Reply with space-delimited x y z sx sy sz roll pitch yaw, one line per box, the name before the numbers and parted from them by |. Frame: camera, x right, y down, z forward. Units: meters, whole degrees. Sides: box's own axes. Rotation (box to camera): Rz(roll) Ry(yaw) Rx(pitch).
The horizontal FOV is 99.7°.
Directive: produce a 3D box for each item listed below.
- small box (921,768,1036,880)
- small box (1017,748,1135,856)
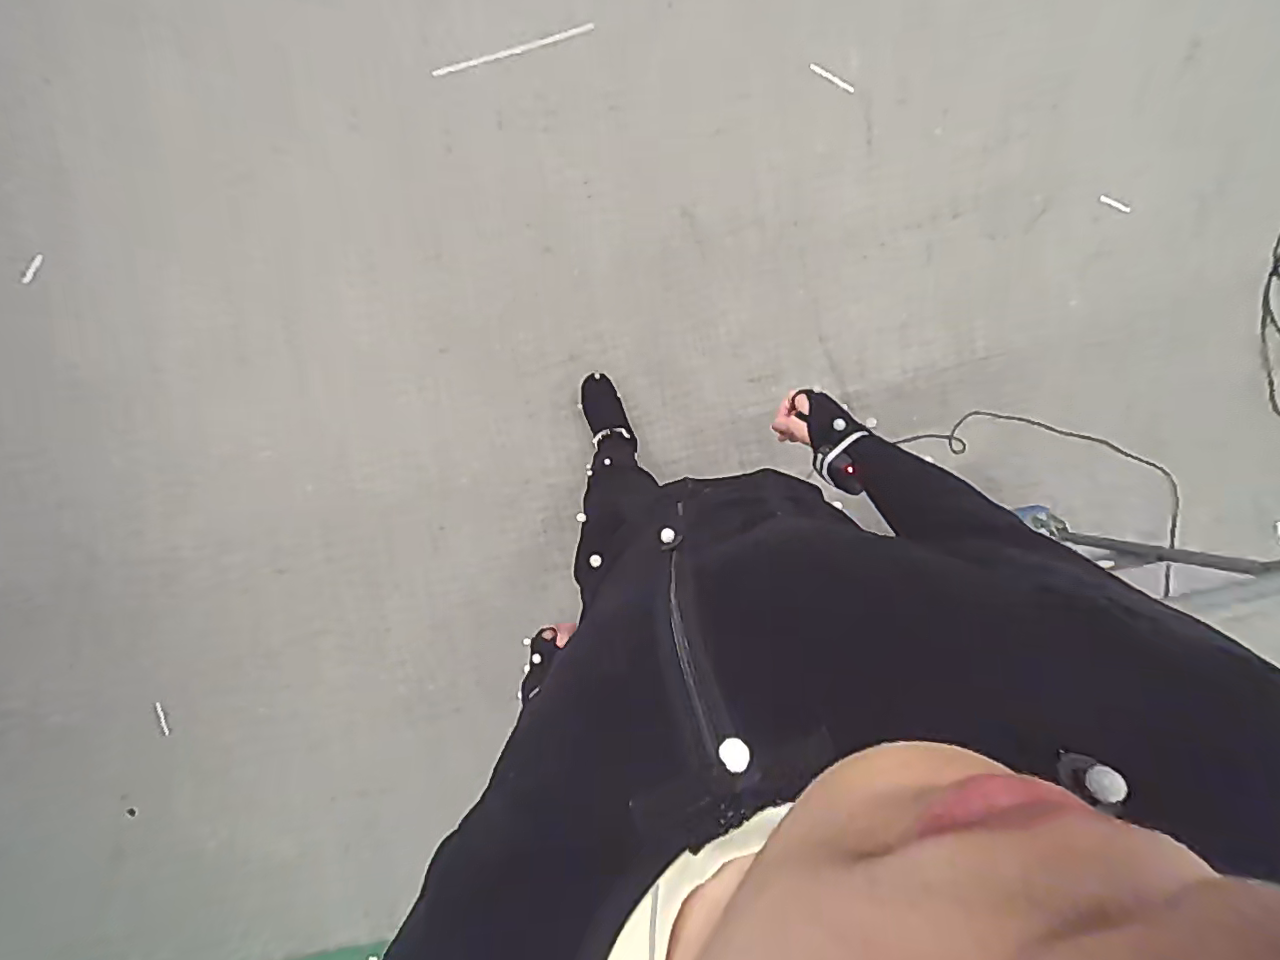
small box | 0.864 0.875 1.393 0.179 0.176 0.168 -13 91 2
small box | 1.109 0.815 1.390 0.168 0.176 0.179 -11 93 2
